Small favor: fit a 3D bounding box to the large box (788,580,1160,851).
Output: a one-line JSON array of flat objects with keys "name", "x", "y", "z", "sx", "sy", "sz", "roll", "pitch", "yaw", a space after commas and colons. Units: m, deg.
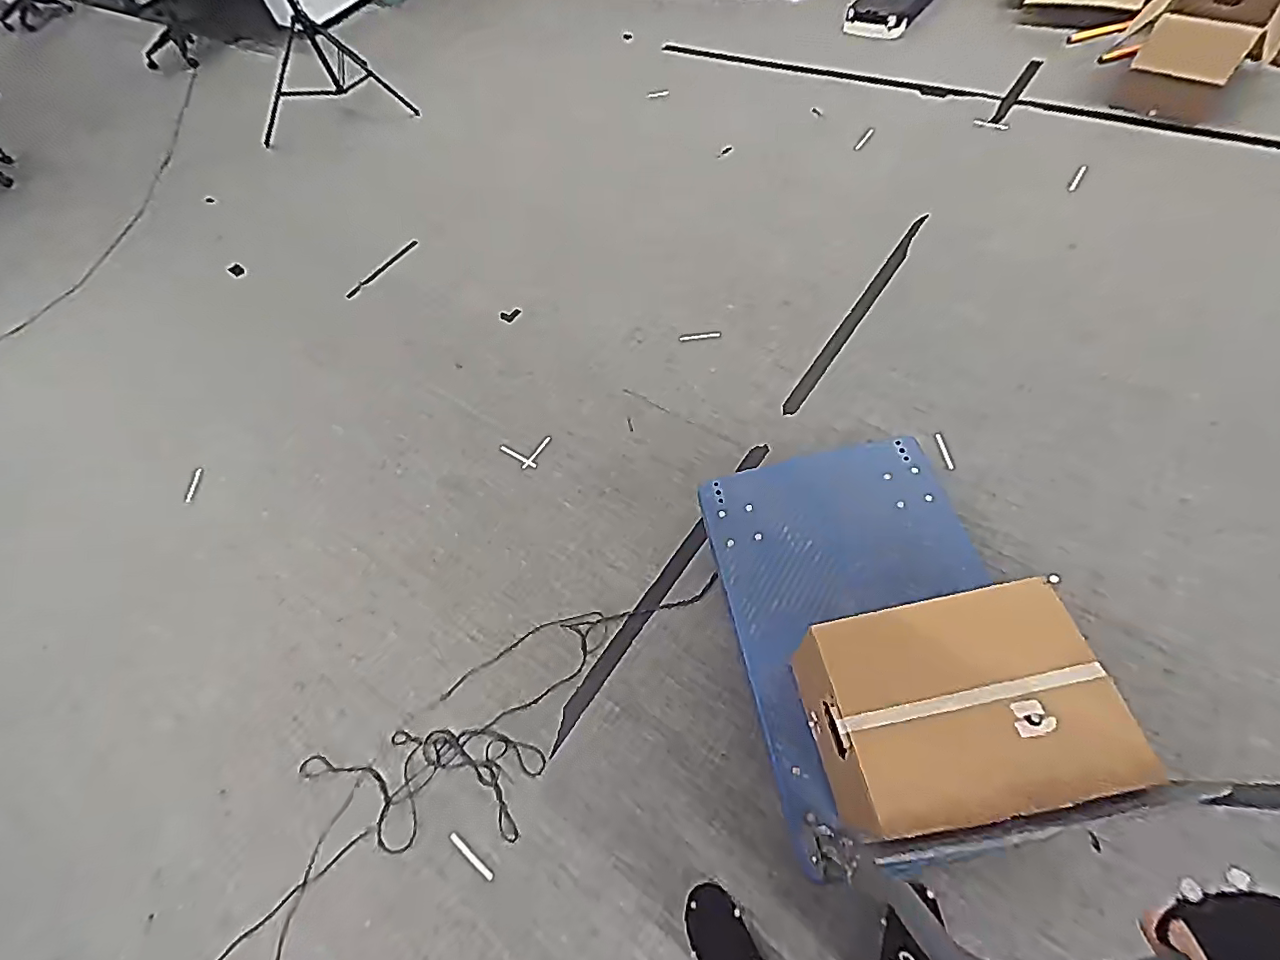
[{"name": "large box", "x": 0.518, "y": 0.414, "z": 0.950, "sx": 0.408, "sy": 0.320, "sz": 0.320, "roll": -13, "pitch": 60, "yaw": 0}]
